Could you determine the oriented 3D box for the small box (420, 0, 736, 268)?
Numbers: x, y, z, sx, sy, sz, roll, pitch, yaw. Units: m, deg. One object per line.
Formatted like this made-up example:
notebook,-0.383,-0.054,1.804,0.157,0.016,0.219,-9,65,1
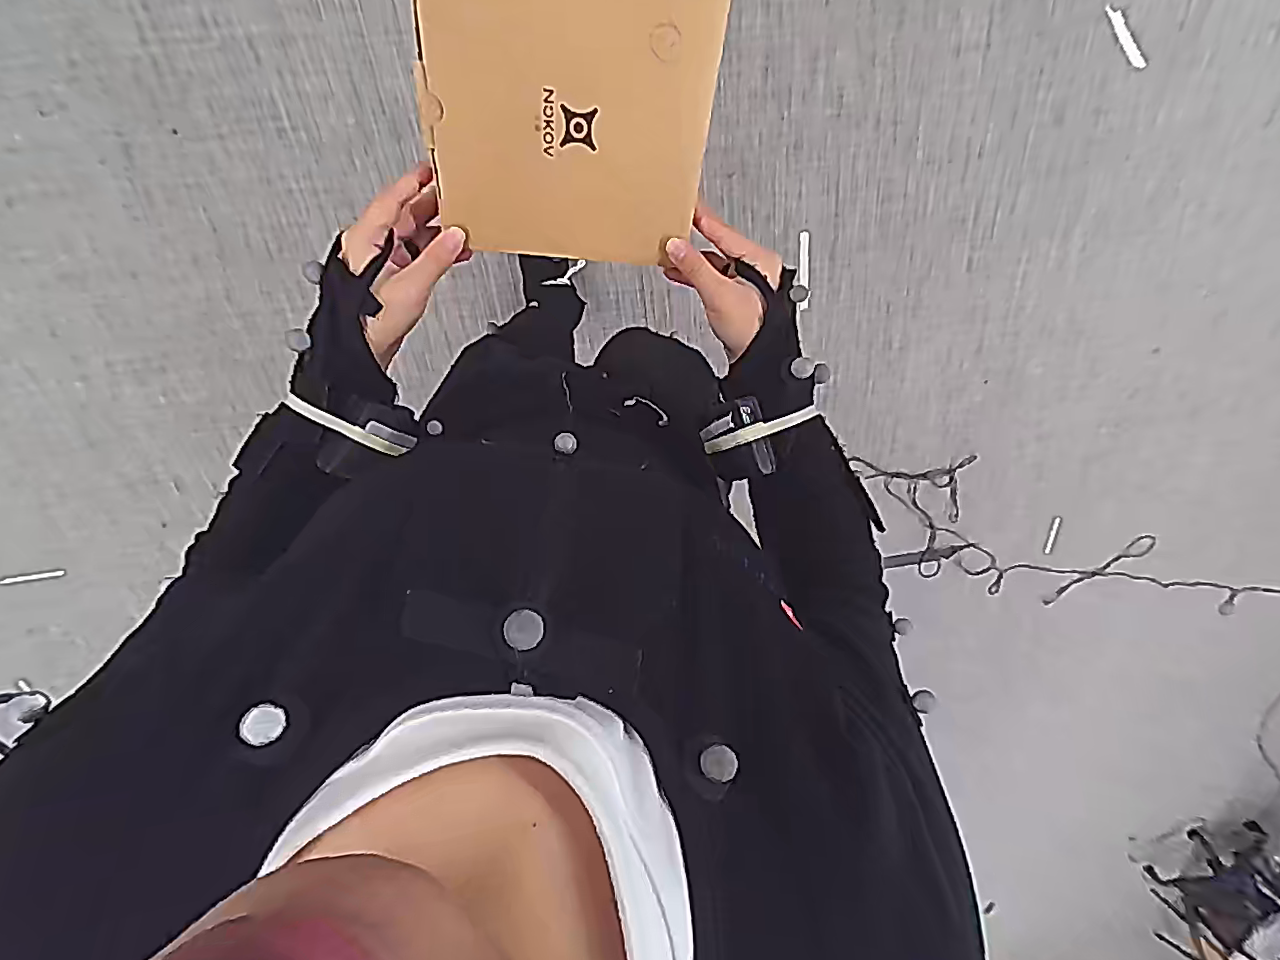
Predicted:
small box,-0.048,-0.277,0.399,0.179,0.176,0.168,3,133,-8
